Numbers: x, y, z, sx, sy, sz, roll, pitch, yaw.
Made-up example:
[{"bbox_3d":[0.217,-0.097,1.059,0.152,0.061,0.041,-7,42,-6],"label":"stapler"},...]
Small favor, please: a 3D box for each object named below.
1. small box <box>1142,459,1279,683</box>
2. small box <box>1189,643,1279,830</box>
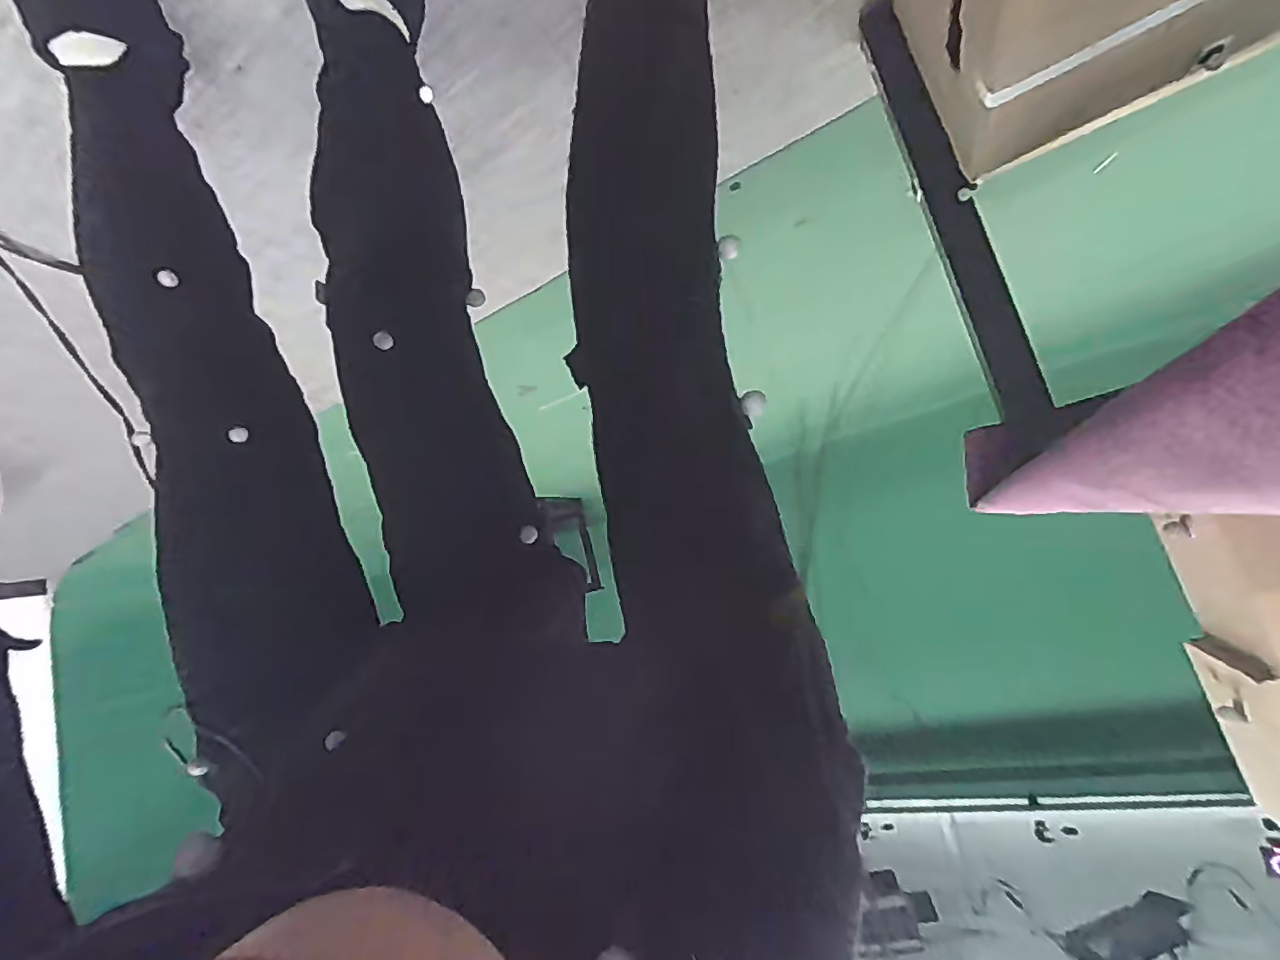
[{"bbox_3d":[0.590,0.060,0.458,0.179,0.176,0.168,-21,167,27],"label":"small box"},{"bbox_3d":[0.628,0.221,0.447,0.179,0.176,0.168,-20,167,27],"label":"small box"}]
